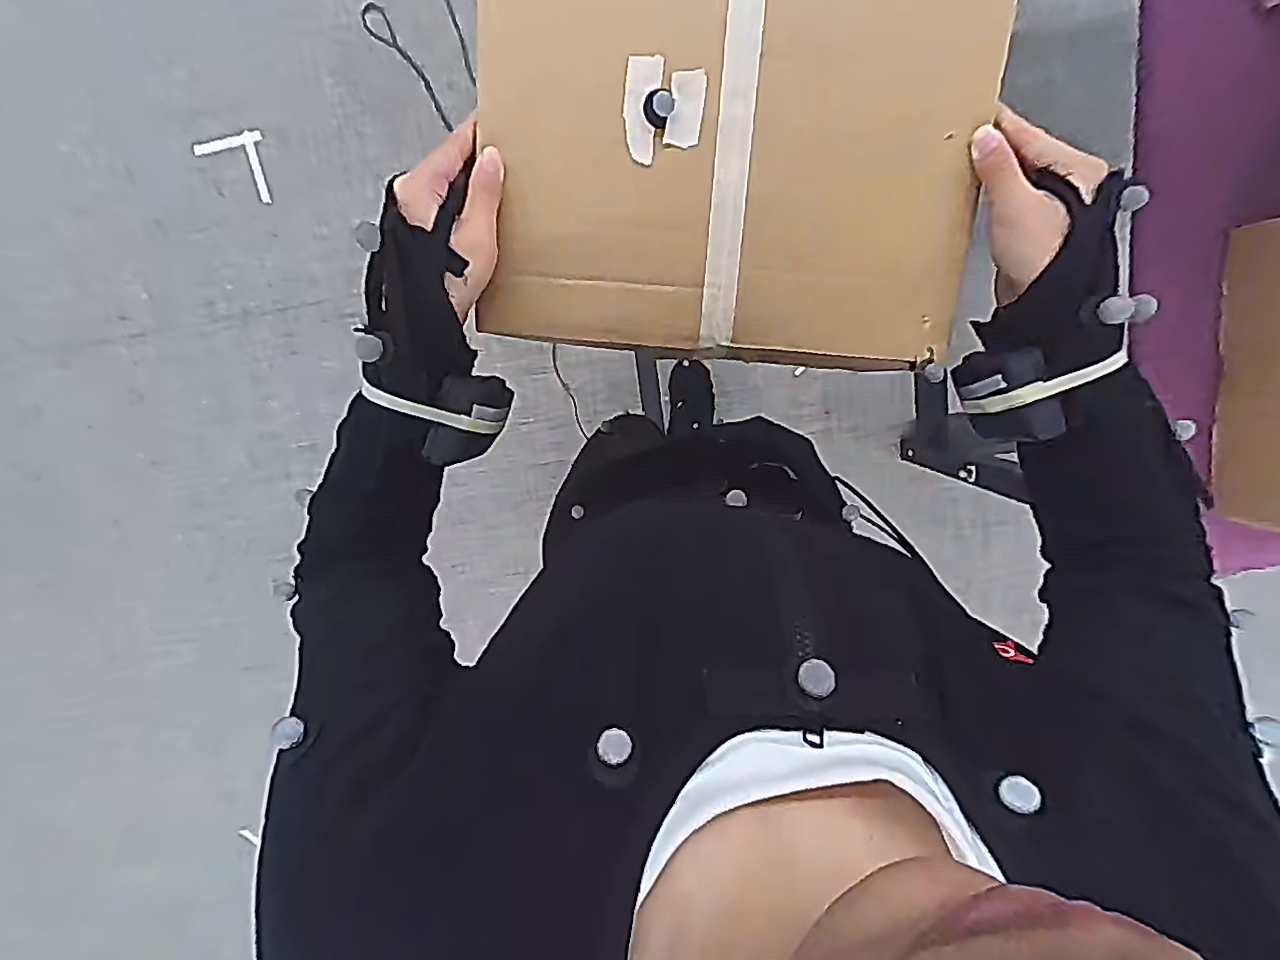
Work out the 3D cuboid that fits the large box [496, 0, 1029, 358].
[{"bbox_3d":[0.070,-0.318,0.452,0.320,0.320,0.408,4,104,0],"label":"large box"}]
